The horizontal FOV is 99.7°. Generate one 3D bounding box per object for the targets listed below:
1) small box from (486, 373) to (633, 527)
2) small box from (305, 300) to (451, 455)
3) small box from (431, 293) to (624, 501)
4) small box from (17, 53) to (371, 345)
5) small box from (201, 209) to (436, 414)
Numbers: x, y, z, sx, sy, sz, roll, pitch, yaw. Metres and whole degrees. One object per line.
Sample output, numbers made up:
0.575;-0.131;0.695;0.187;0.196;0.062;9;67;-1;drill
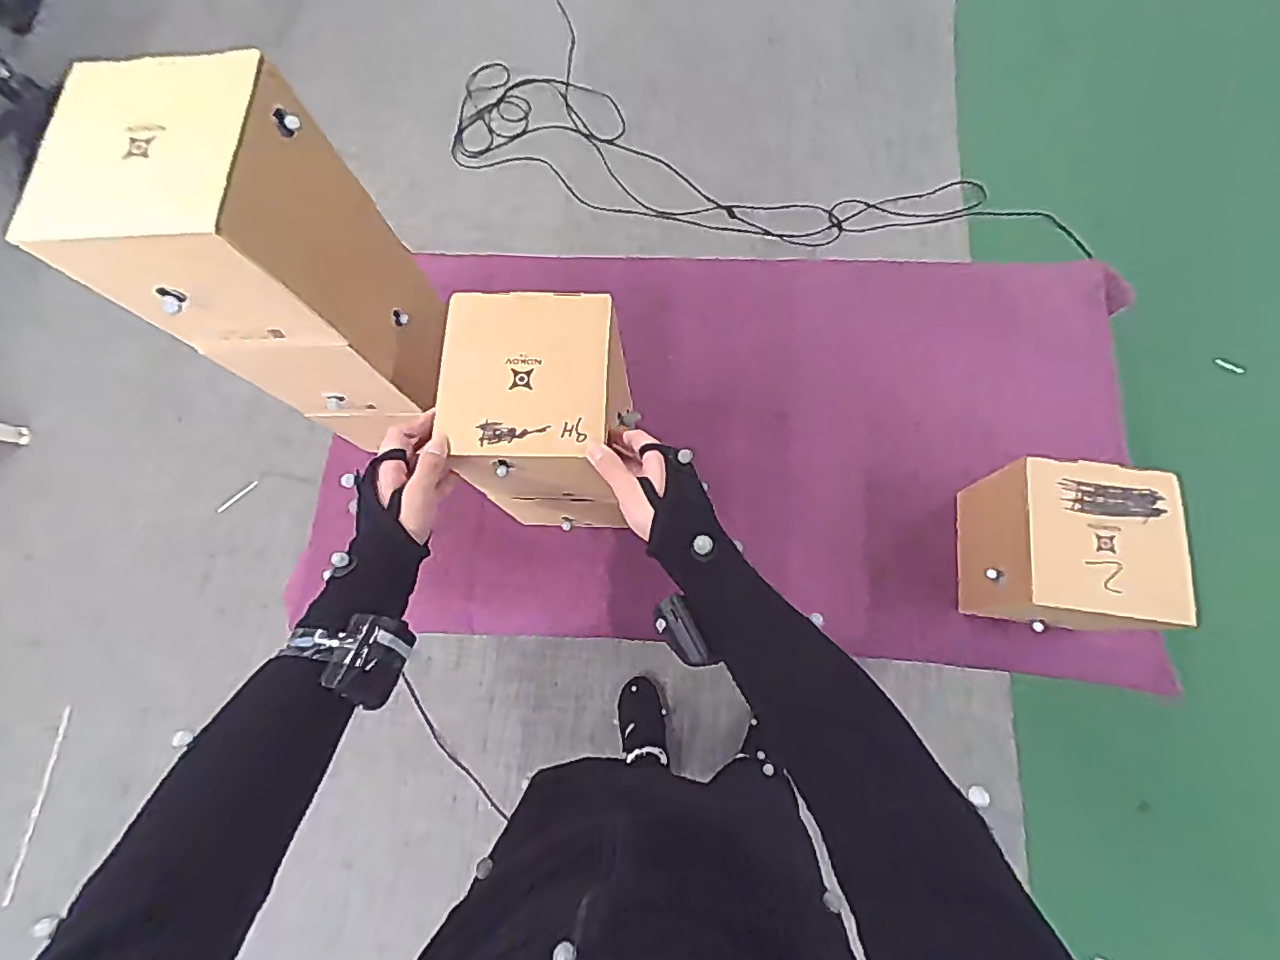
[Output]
-0.100;-0.038;0.759;0.168;0.176;0.179;2;75;4;small box
-0.354;-0.146;0.807;0.168;0.176;0.179;1;75;4;small box
-0.108;-0.084;0.601;0.168;0.176;0.179;1;74;4;small box
-0.375;-0.236;0.494;0.168;0.176;0.179;-1;74;5;small box
-0.363;-0.192;0.650;0.168;0.176;0.179;0;75;5;small box
